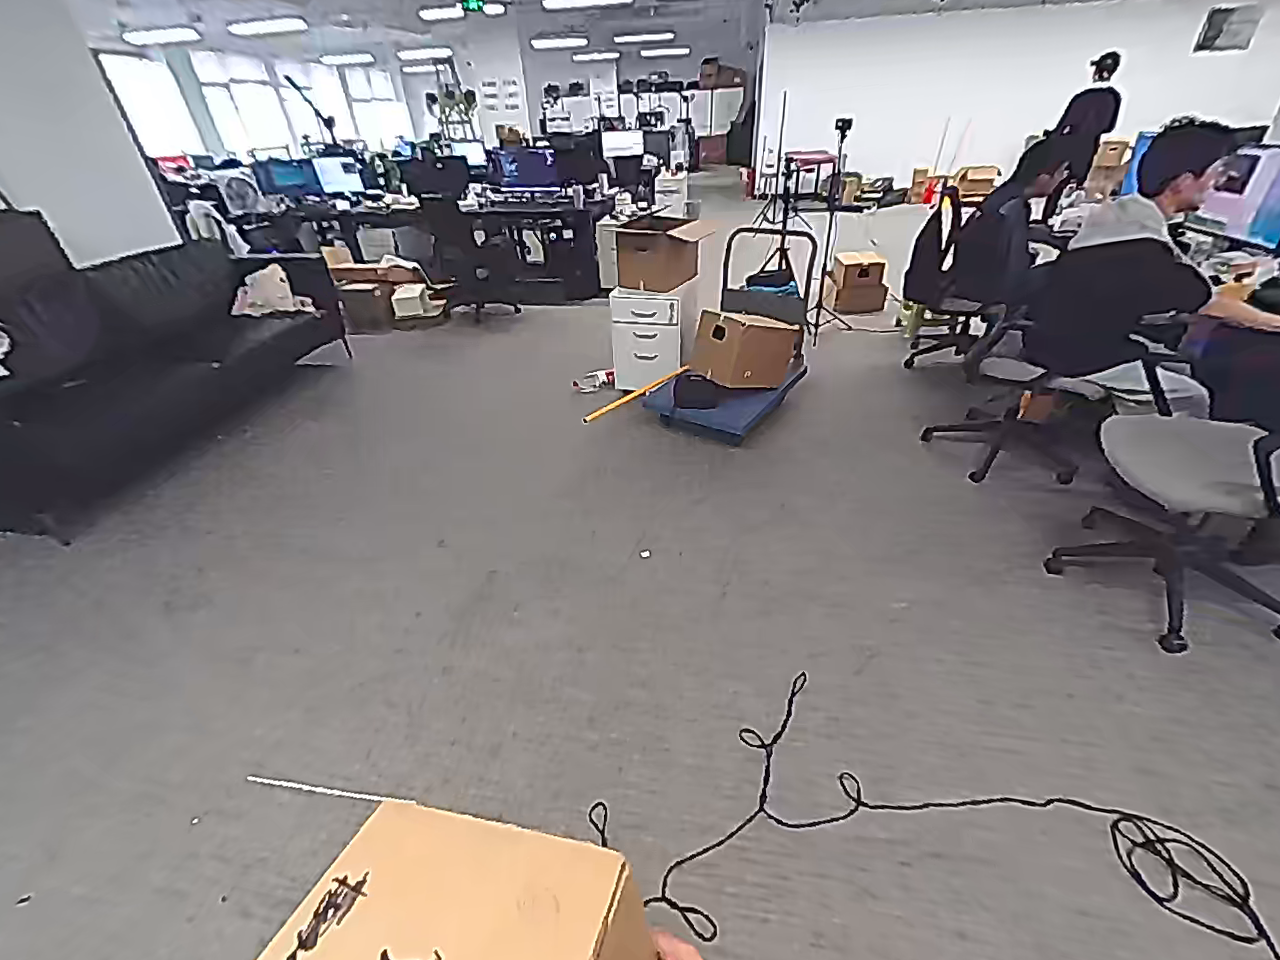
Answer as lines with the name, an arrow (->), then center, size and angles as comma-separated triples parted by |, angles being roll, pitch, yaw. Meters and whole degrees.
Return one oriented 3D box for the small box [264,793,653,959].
small box -> -0.093, 0.311, 0.283 | 0.179, 0.176, 0.168 | -1, 23, 22
